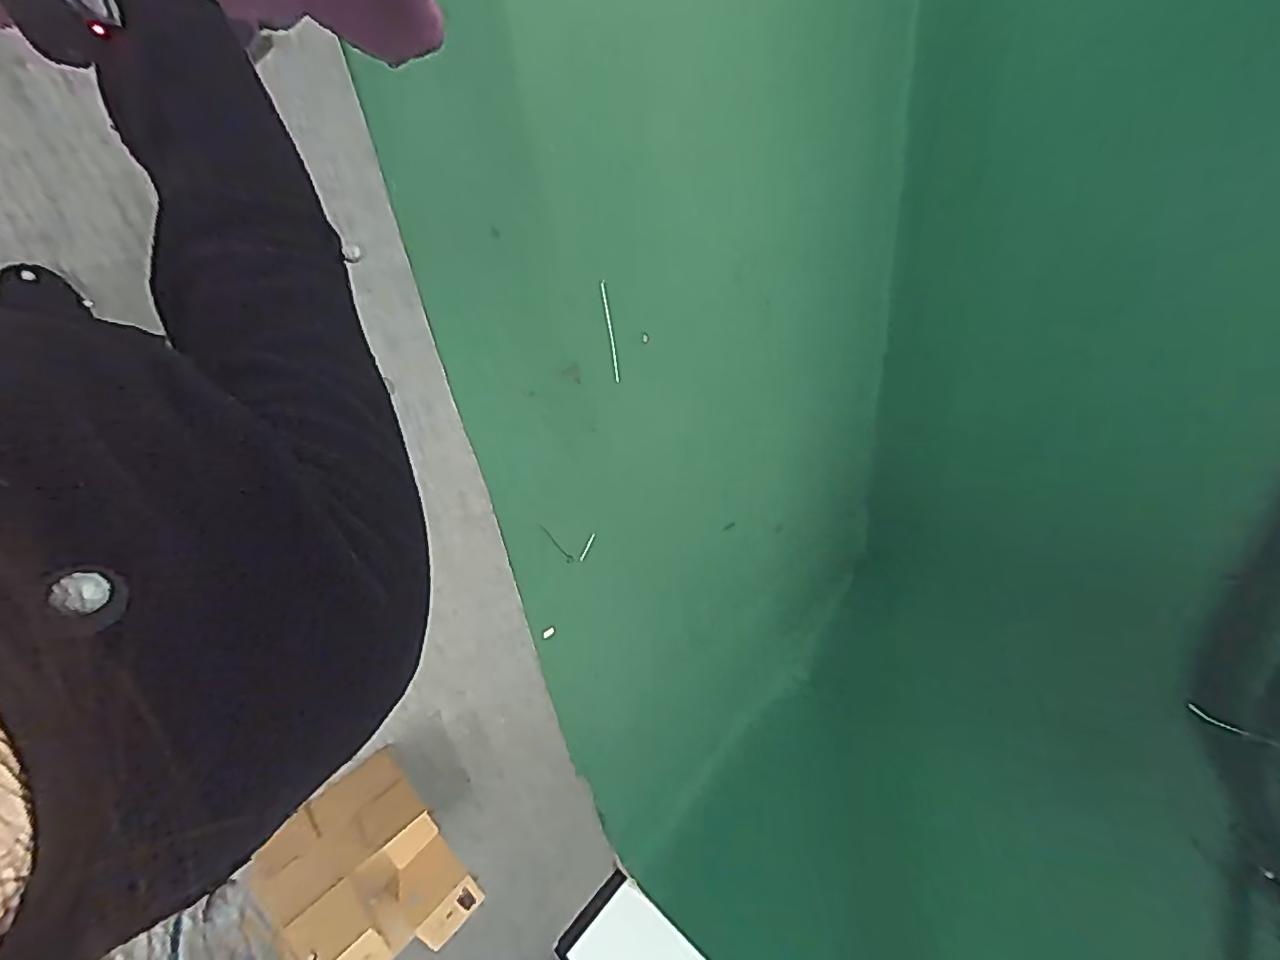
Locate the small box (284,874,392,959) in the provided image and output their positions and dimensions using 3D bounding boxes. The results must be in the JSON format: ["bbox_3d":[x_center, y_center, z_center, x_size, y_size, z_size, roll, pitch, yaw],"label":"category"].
[{"bbox_3d":[-0.768,1.163,1.368,0.179,0.176,0.168,-31,128,-35],"label":"small box"}]
